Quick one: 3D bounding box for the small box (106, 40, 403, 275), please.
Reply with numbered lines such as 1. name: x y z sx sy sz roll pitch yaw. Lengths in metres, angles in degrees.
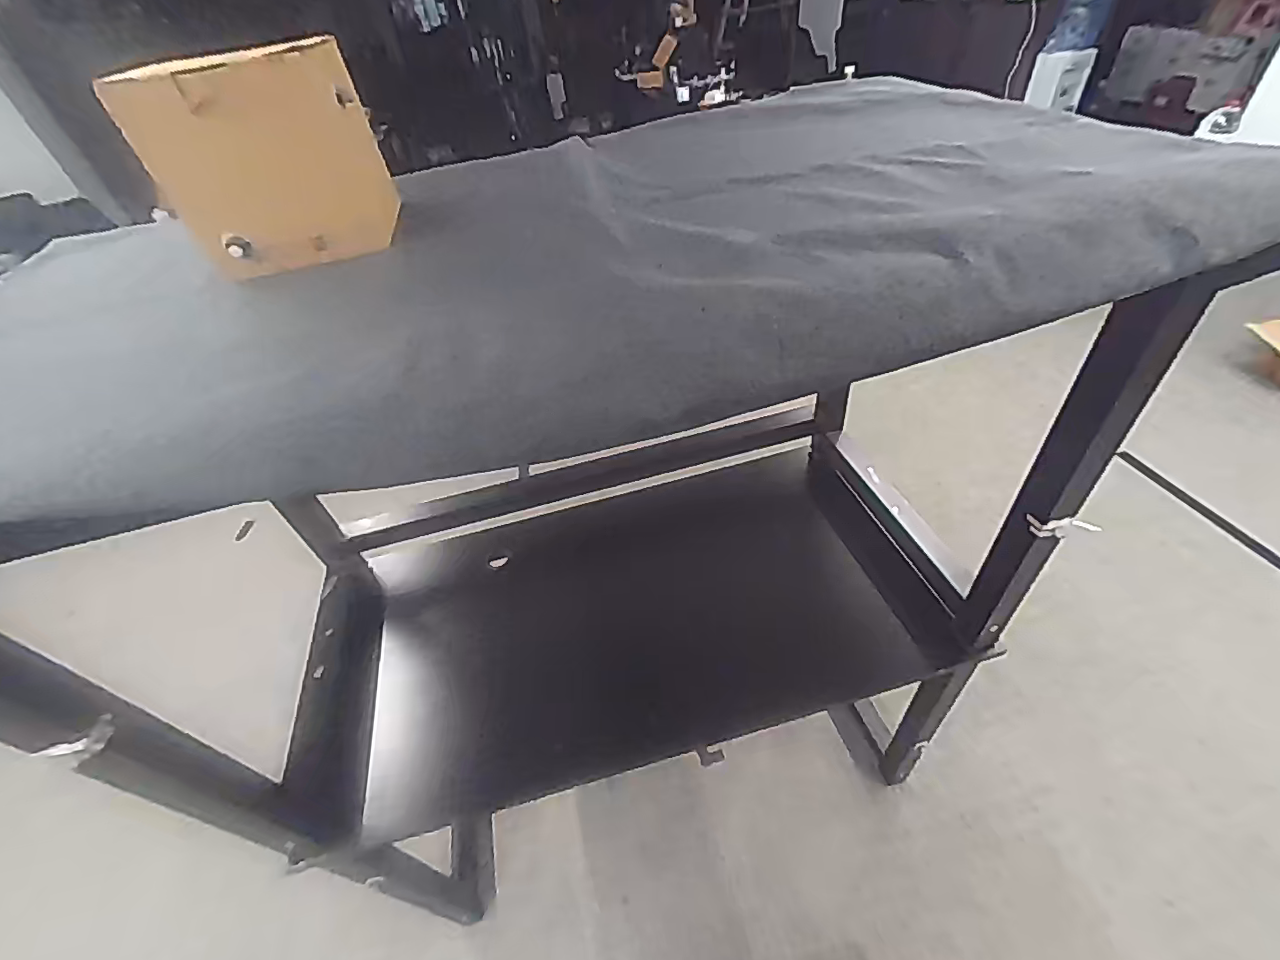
1. small box: -0.364 -0.328 0.559 0.168 0.176 0.179 -15 43 -5
